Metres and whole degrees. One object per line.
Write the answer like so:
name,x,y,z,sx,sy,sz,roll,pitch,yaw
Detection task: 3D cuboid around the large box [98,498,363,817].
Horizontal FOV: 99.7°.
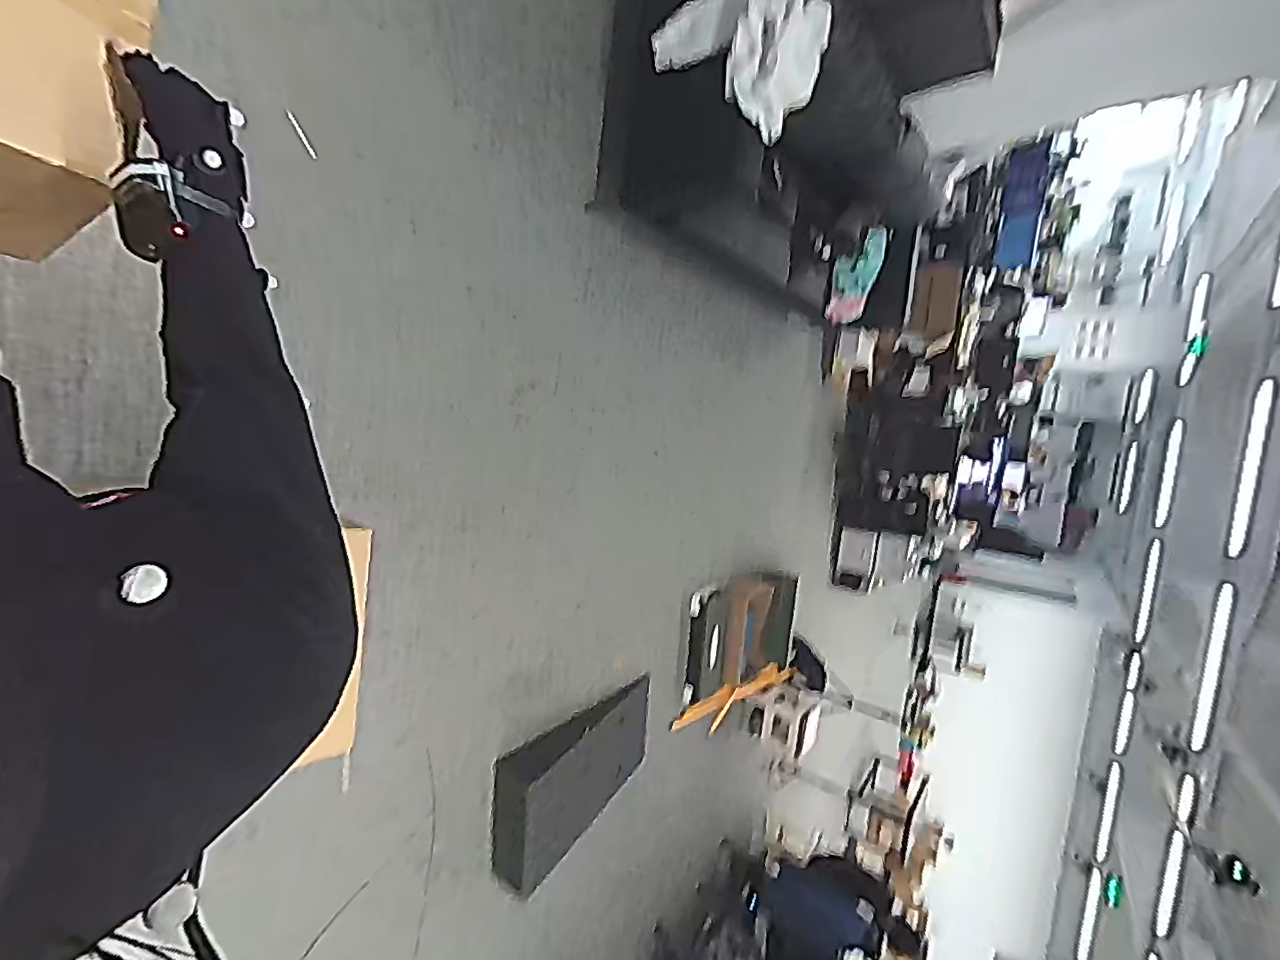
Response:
large box,-0.706,0.250,0.928,0.320,0.320,0.408,3,95,-48
